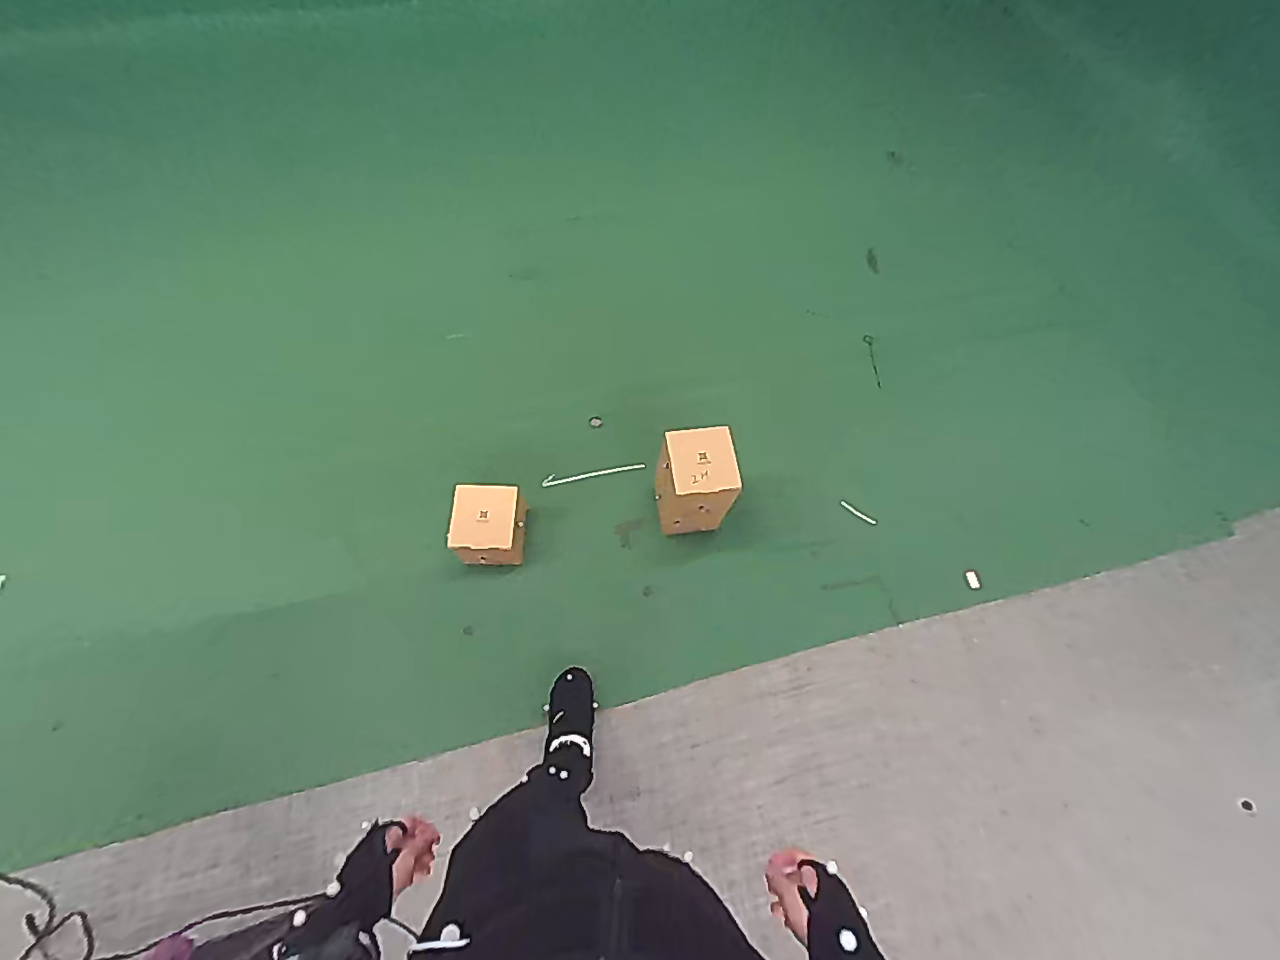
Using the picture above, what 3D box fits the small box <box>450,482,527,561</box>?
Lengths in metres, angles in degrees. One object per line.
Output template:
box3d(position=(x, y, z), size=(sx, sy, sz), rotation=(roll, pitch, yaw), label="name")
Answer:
box3d(position=(-0.409, 0.118, 1.490), size=(0.168, 0.176, 0.179), rotation=(2, 69, -3), label="small box")

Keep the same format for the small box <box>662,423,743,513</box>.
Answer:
box3d(position=(0.154, -0.027, 1.403), size=(0.168, 0.176, 0.179), rotation=(-6, 69, -6), label="small box")
